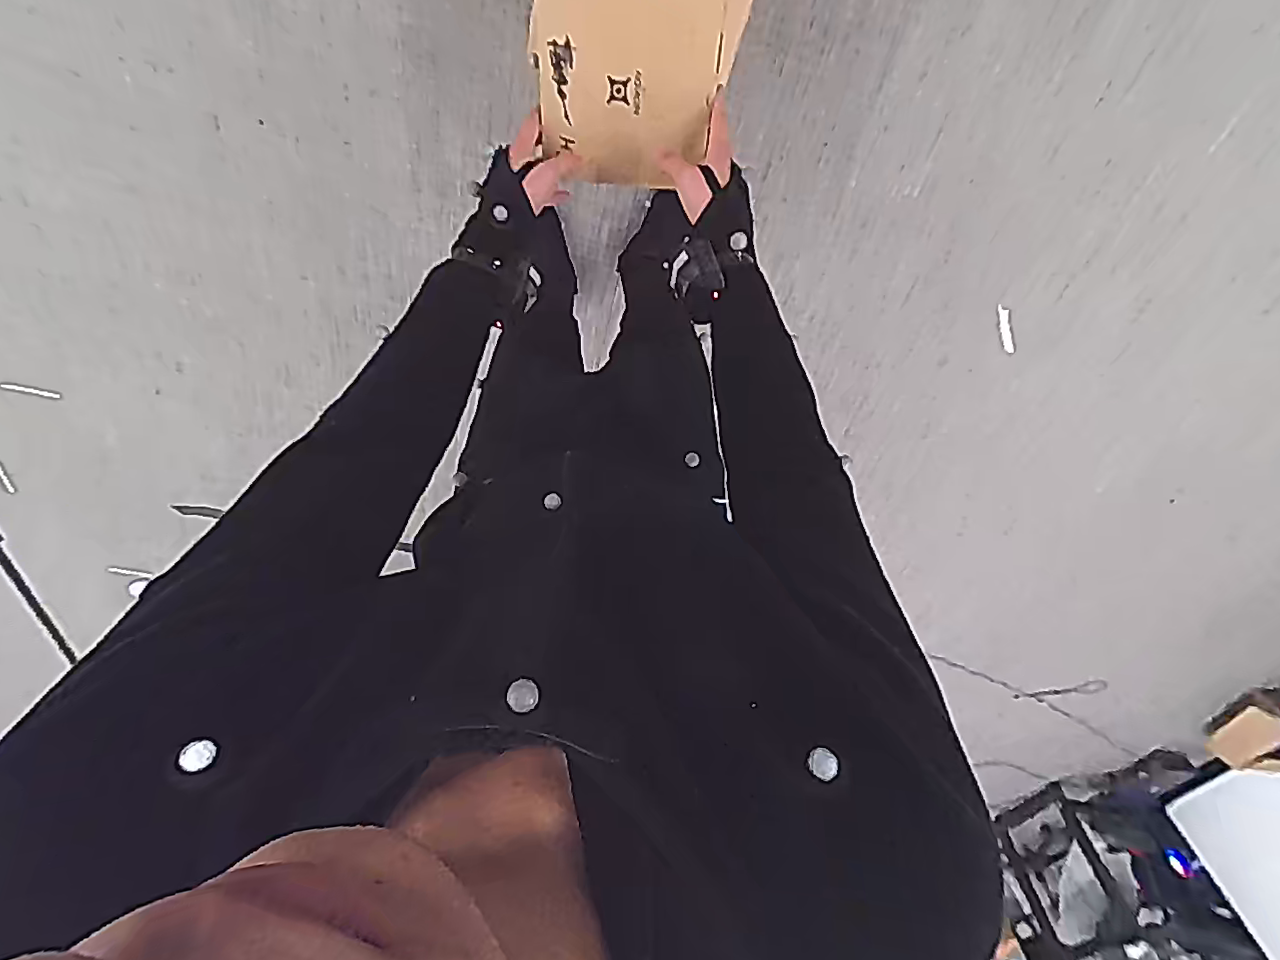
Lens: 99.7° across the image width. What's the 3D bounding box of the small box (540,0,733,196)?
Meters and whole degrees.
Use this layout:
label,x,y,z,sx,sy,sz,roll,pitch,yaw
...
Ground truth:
label,x,y,z,sx,sy,sz,roll,pitch,yaw
small box,-0.007,-0.425,0.589,0.179,0.176,0.168,4,130,-1
